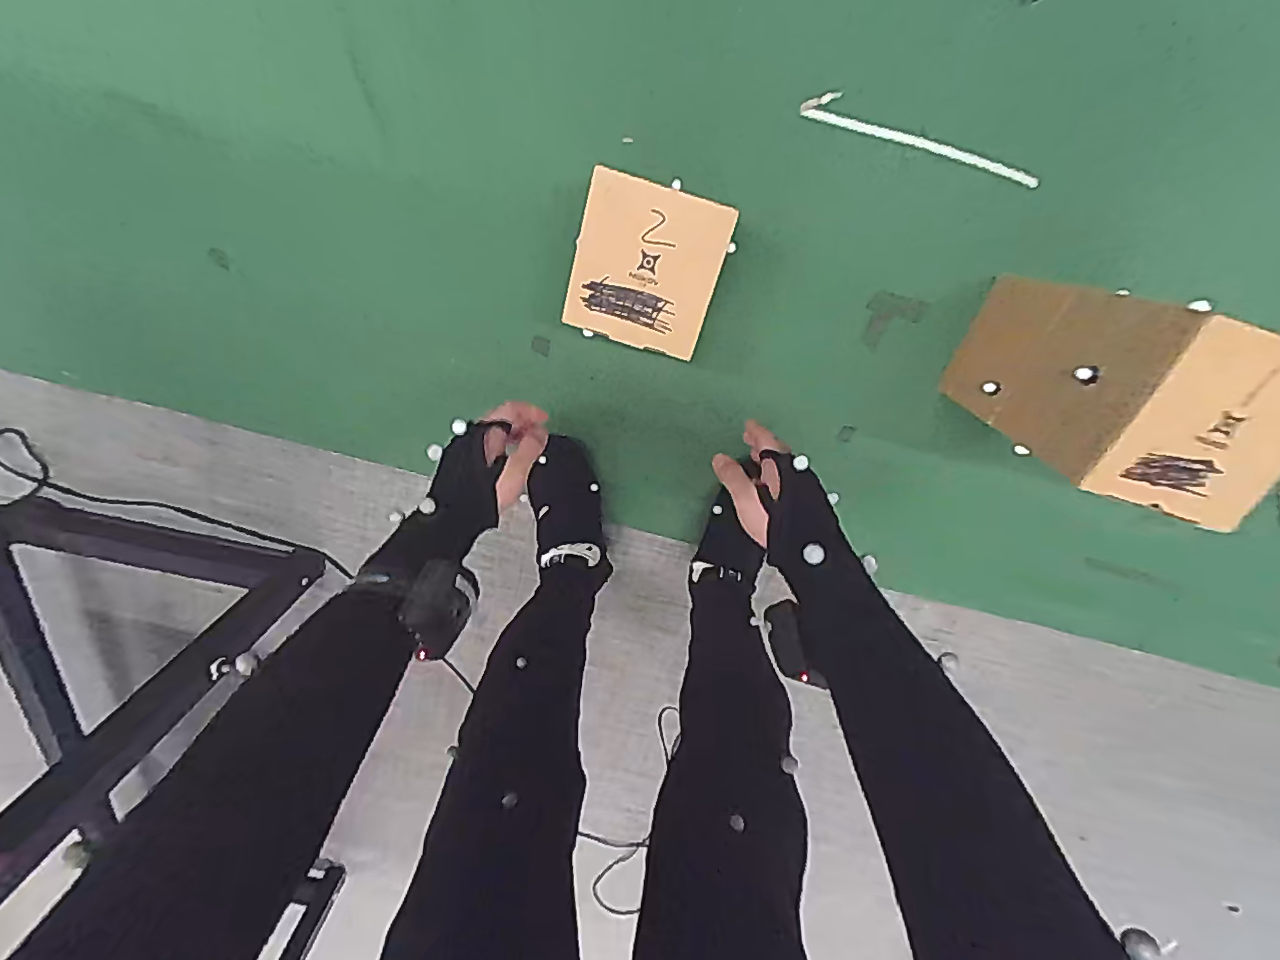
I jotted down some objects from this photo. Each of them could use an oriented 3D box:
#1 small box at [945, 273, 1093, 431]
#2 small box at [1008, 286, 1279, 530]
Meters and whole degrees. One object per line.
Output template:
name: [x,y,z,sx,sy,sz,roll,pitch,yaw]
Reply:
small box: [0.541,-0.156,0.705,0.168,0.176,0.179,16,117,-4]
small box: [0.529,-0.082,0.559,0.168,0.176,0.179,17,117,-5]
